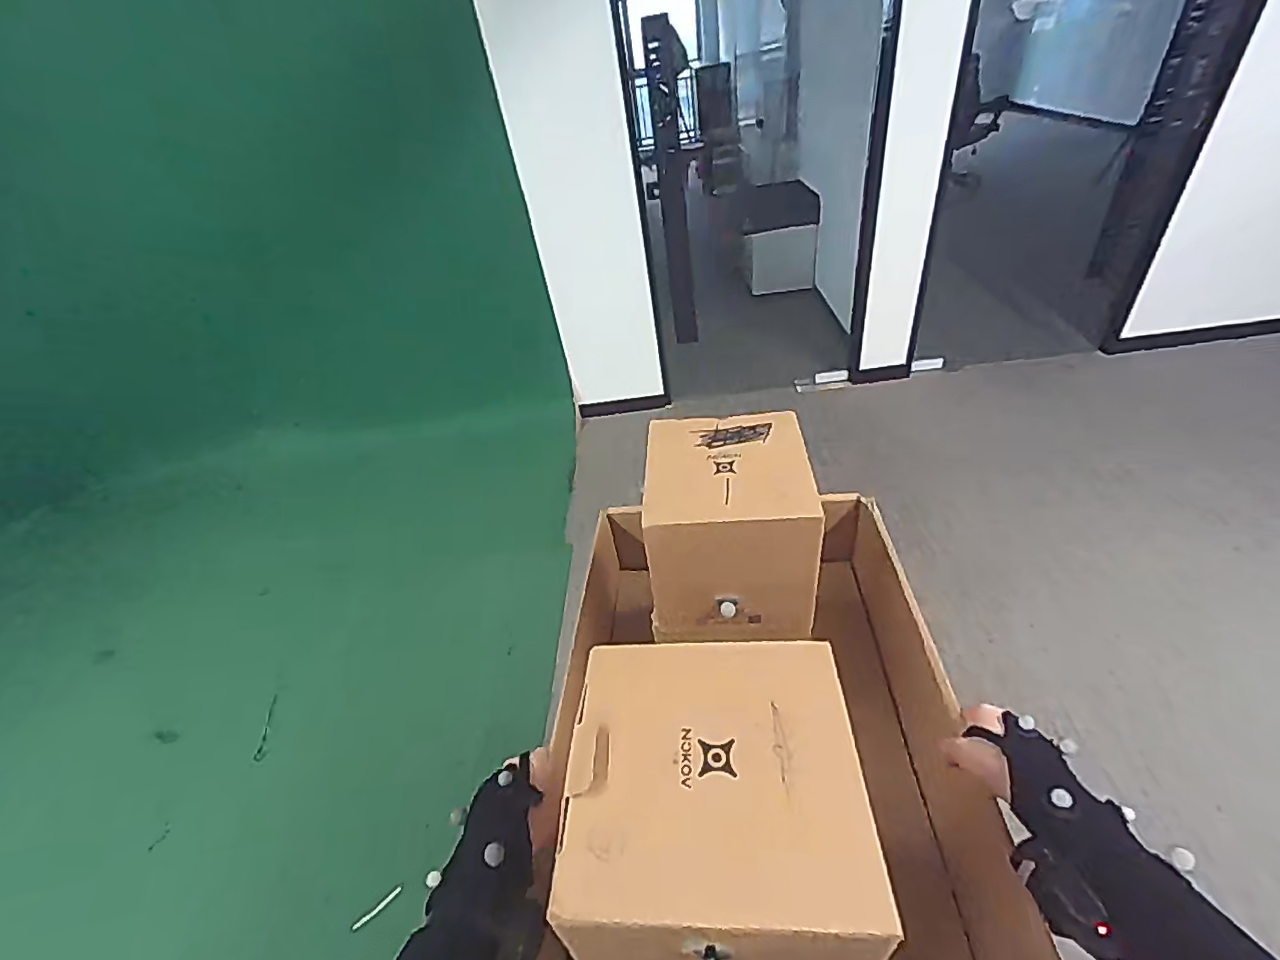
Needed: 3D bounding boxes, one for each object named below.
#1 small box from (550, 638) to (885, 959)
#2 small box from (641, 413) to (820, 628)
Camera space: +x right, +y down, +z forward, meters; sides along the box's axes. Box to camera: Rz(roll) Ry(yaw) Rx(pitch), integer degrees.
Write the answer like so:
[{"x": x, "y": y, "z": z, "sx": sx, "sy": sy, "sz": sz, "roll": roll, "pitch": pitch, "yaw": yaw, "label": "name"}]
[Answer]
[{"x": 0.051, "y": 0.233, "z": 0.387, "sx": 0.179, "sy": 0.176, "sz": 0.168, "roll": -3, "pitch": 39, "yaw": 6, "label": "small box"}, {"x": 0.097, "y": 0.044, "z": 0.607, "sx": 0.168, "sy": 0.176, "sz": 0.179, "roll": -3, "pitch": 40, "yaw": 8, "label": "small box"}]
